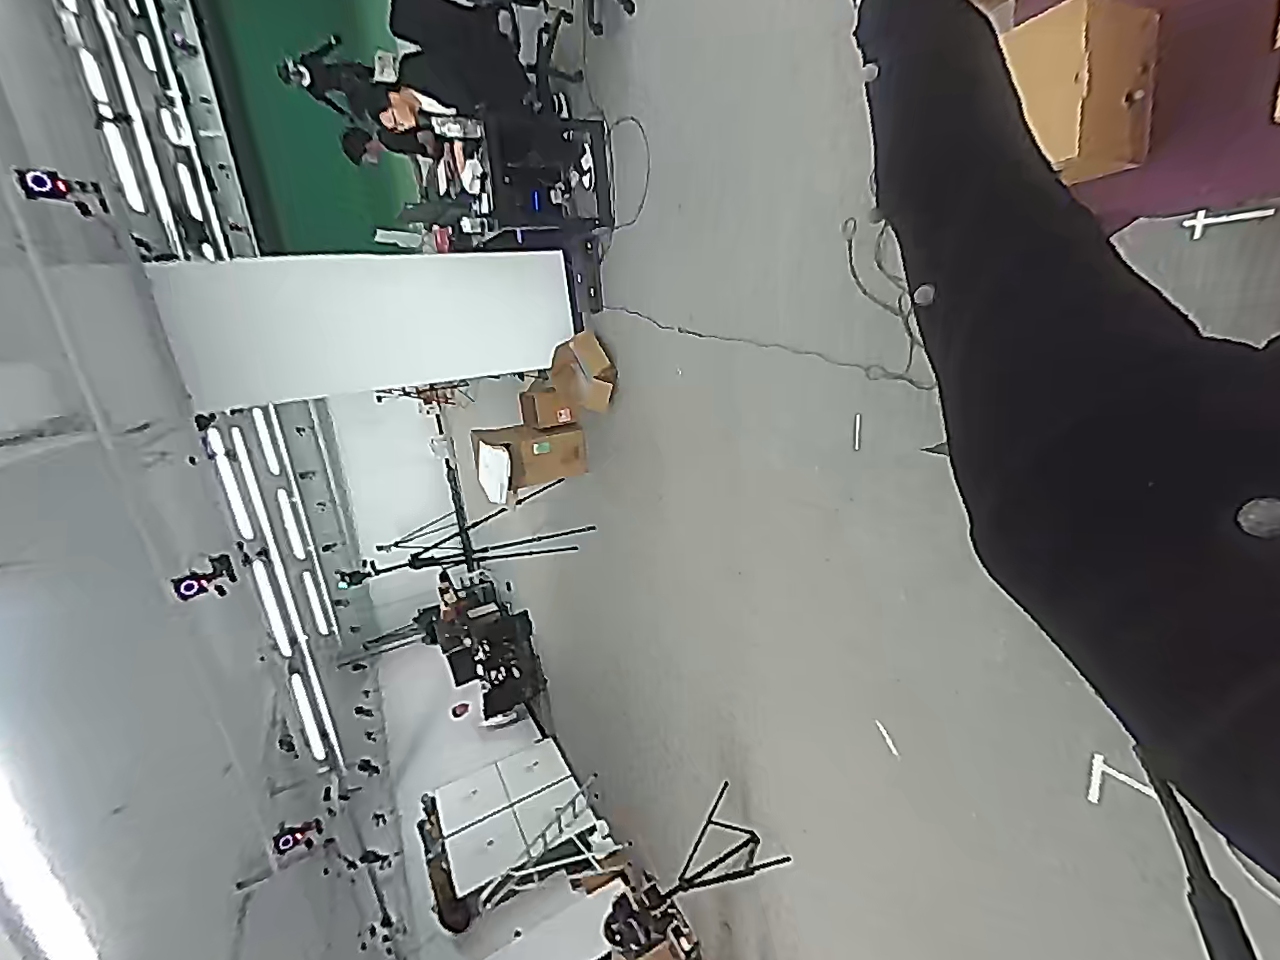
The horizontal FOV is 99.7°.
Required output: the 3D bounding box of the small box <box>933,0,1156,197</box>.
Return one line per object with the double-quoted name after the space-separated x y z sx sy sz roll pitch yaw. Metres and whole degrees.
0.515 -0.479 0.703 0.179 0.176 0.168 16 117 59 "small box"
